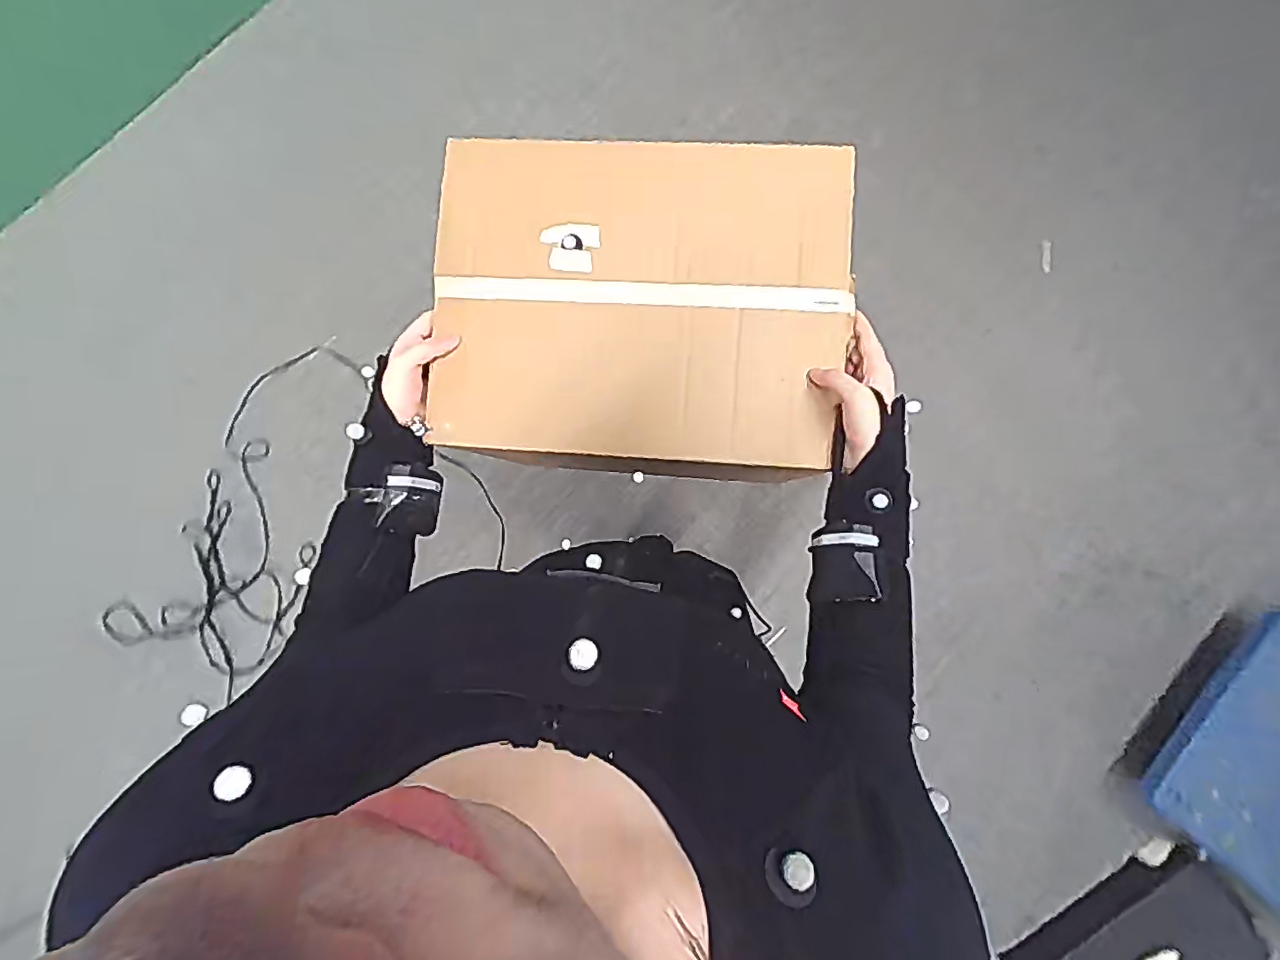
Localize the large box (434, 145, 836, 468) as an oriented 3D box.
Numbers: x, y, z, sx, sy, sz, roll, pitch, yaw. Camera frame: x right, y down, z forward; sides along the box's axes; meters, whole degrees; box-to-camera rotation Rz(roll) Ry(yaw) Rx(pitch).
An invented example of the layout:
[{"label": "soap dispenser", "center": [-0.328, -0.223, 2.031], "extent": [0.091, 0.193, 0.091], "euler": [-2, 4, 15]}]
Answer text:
[{"label": "large box", "center": [0.006, -0.176, 0.688], "extent": [0.408, 0.320, 0.320], "euler": [3, 88, 6]}]
